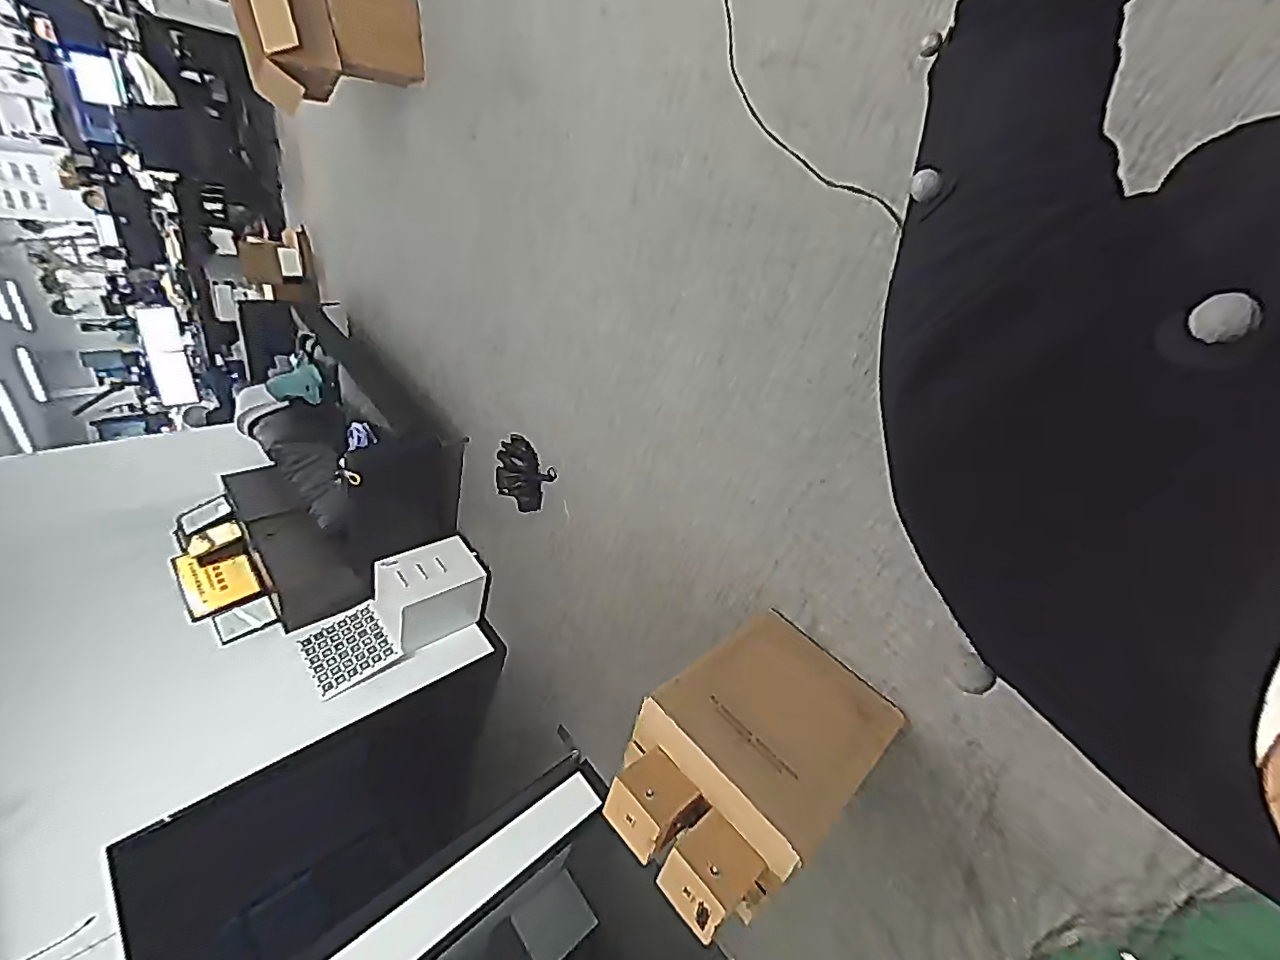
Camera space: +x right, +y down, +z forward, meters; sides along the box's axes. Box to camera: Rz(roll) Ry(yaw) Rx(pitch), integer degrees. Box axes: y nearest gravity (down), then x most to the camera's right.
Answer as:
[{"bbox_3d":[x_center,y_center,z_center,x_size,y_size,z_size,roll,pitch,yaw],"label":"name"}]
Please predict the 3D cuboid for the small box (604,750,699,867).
[{"bbox_3d":[0.034,0.881,1.468,0.179,0.176,0.168,35,121,36],"label":"small box"}]

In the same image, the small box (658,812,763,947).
[{"bbox_3d":[0.178,0.985,1.348,0.179,0.176,0.168,36,122,34],"label":"small box"}]
